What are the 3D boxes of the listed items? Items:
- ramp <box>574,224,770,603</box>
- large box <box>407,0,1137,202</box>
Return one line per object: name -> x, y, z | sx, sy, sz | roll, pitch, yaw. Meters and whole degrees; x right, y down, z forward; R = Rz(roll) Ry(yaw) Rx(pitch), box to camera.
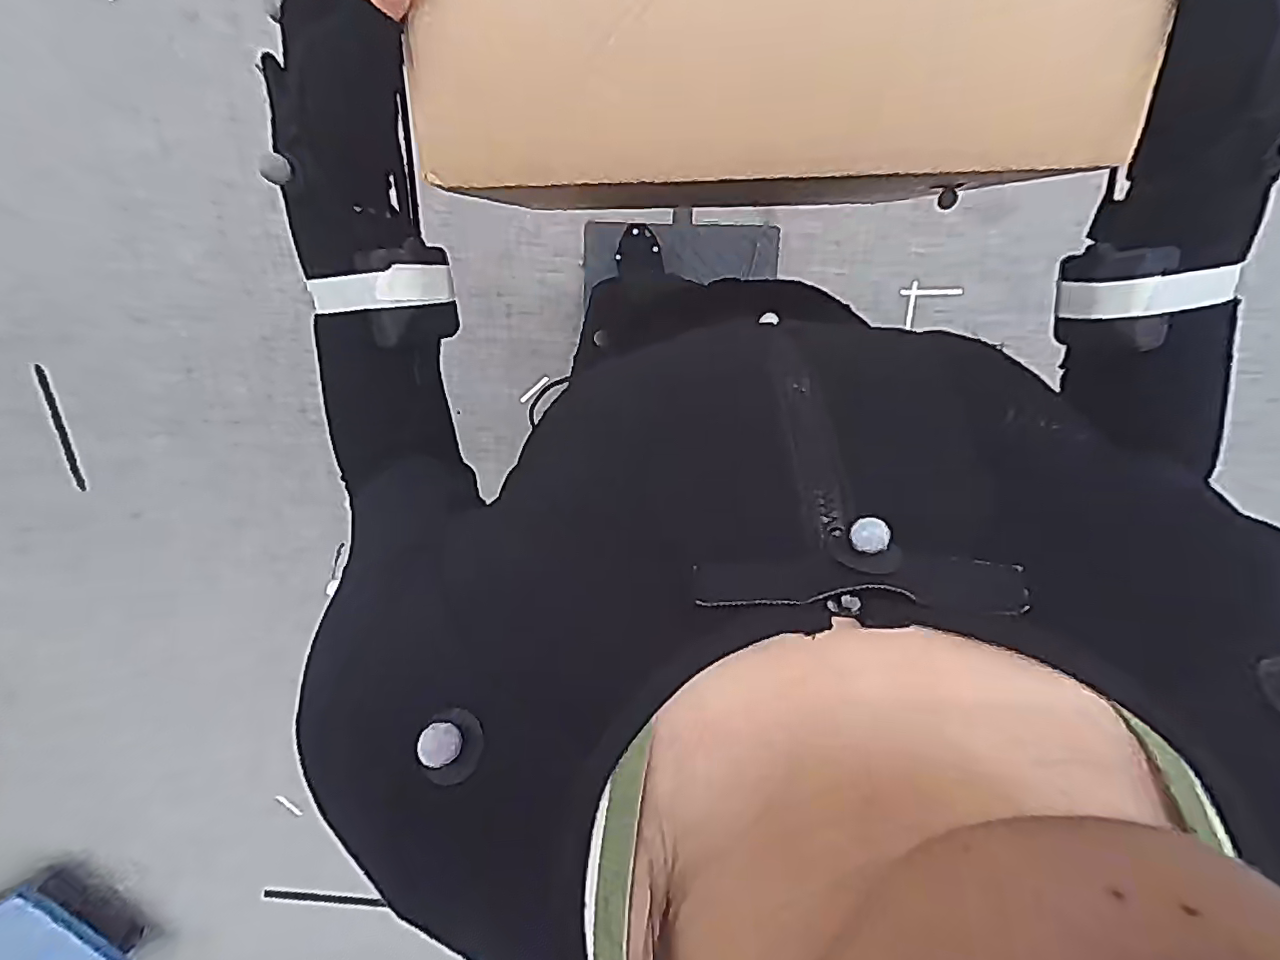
ramp -> 0.069, -0.154, 1.449 | 0.509, 0.206, 0.991 | 1, 109, 3
large box -> 0.070, -0.387, 0.396 | 0.408, 0.320, 0.320 | -1, 114, 0
